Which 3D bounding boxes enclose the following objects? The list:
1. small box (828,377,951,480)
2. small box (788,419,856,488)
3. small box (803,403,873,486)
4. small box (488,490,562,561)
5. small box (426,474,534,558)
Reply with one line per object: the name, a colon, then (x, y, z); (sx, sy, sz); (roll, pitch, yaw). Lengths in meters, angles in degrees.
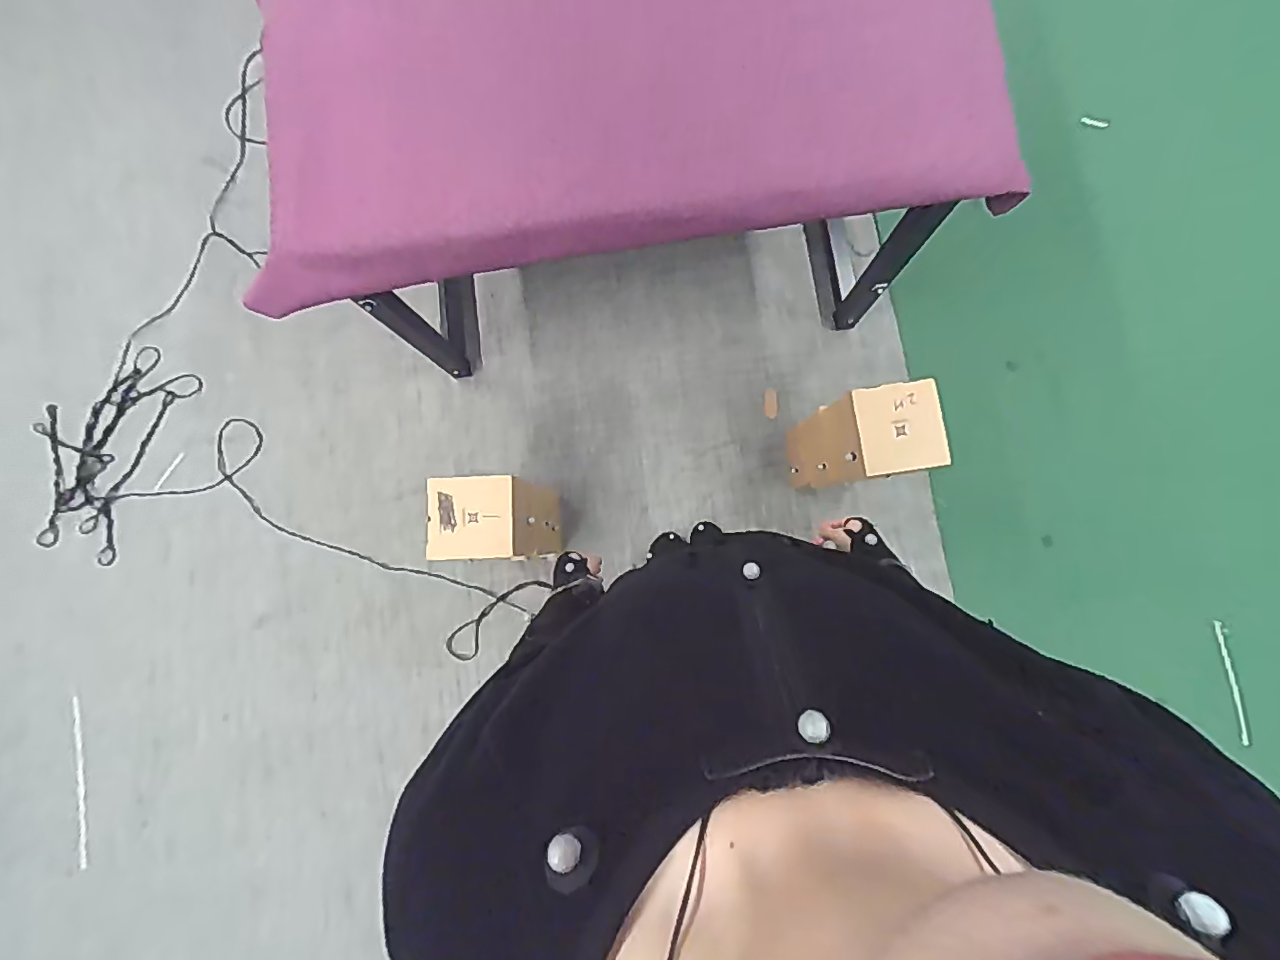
small box: (0.508, -0.098, 1.124); (0.168, 0.176, 0.179); (-9, 84, 1)
small box: (0.502, -0.073, 1.450); (0.179, 0.176, 0.168); (-6, 84, 2)
small box: (0.500, -0.089, 1.289); (0.168, 0.176, 0.179); (-9, 85, 2)
small box: (-0.310, 0.124, 1.470); (0.168, 0.176, 0.179); (-4, 84, 2)
small box: (-0.332, 0.081, 1.143); (0.179, 0.176, 0.168); (-2, 83, 2)
